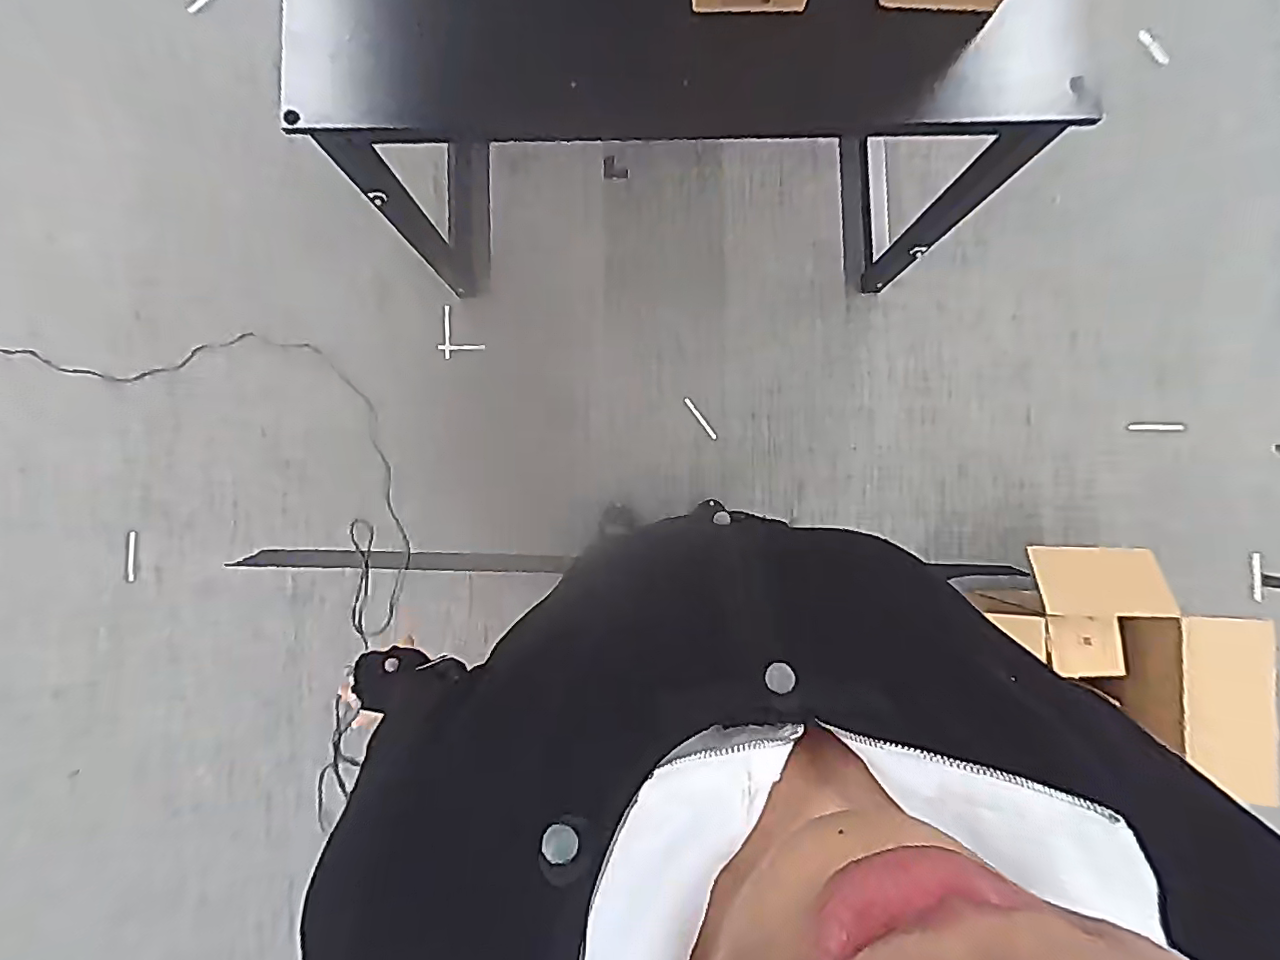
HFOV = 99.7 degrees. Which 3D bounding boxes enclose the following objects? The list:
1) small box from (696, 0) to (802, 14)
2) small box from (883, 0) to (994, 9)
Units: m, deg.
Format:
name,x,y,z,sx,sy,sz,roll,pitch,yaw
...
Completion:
name,x,y,z,sx,sy,sz,roll,pitch,yaw
small box,0.157,-0.781,0.721,0.168,0.176,0.179,0,89,0
small box,0.439,-0.779,0.720,0.179,0.176,0.168,3,88,1
